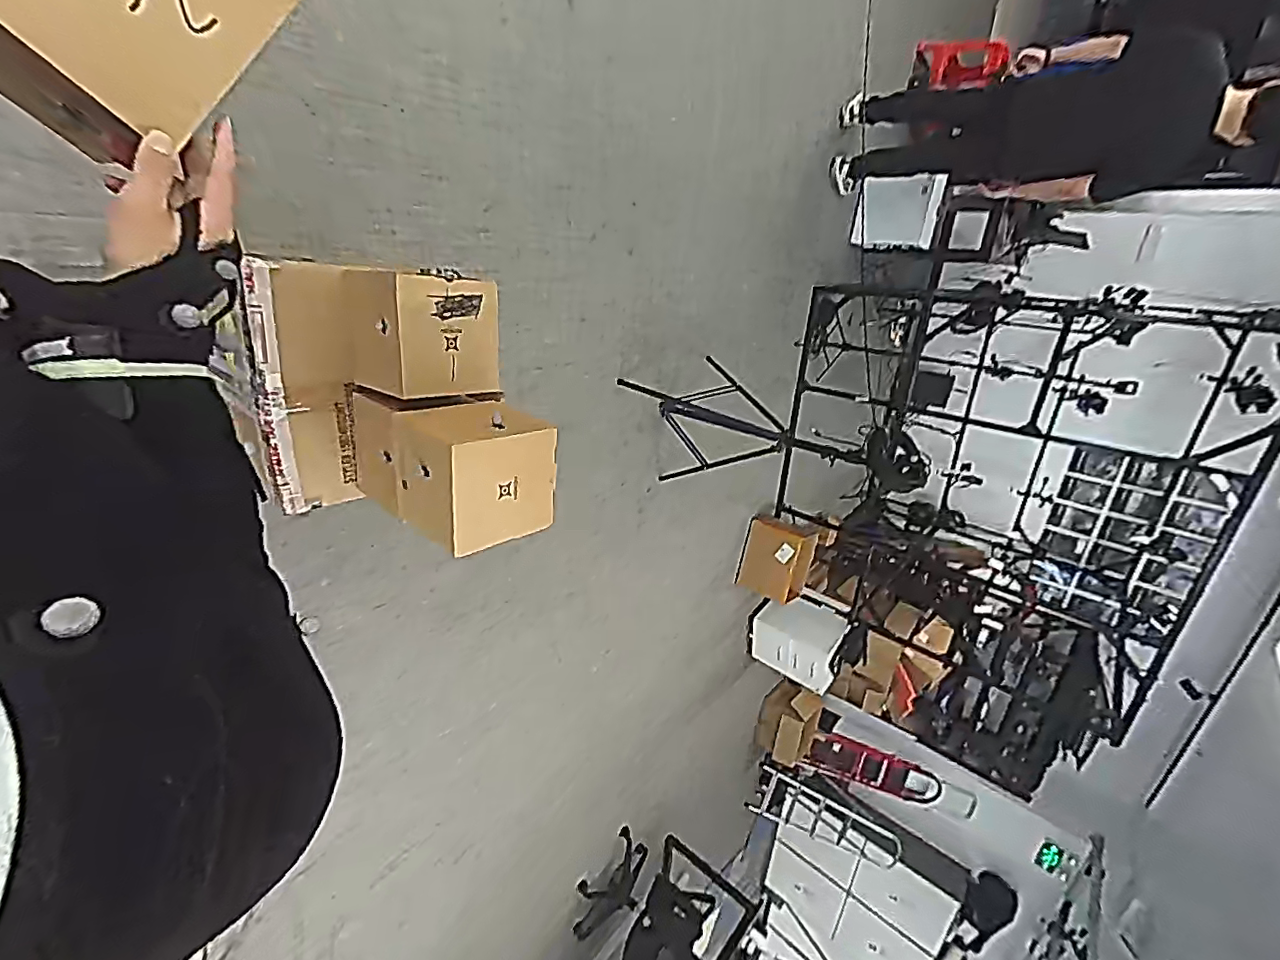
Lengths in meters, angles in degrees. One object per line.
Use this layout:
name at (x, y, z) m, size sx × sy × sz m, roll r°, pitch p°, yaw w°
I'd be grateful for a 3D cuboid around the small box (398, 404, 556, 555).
small box at (-0.249, -0.012, 0.819) m, size 0.179 × 0.176 × 0.168 m, roll -18°, pitch 122°, yaw -47°
